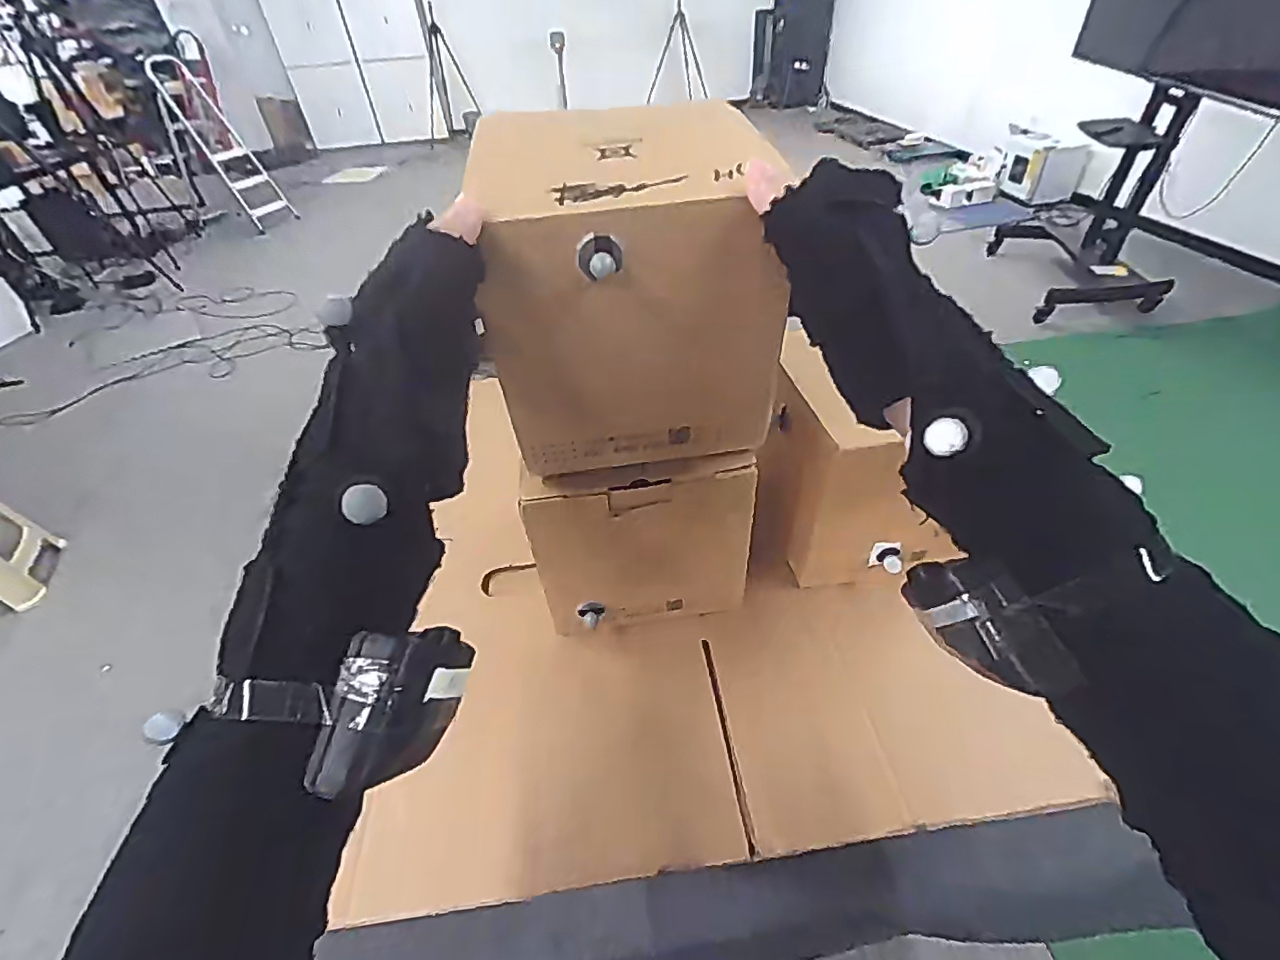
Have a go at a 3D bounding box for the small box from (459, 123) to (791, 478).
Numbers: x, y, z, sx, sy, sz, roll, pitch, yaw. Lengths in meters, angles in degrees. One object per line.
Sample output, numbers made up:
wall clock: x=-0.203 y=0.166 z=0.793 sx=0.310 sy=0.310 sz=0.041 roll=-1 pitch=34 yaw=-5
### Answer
small box: x=-0.011 y=-0.125 z=0.375 sx=0.168 sy=0.176 sz=0.179 roll=-8 pitch=46 yaw=-2

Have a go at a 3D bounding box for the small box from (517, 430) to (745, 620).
small box: x=-0.008 y=0.009 z=0.488 sx=0.168 sy=0.176 sz=0.179 roll=-8 pitch=42 yaw=-3
